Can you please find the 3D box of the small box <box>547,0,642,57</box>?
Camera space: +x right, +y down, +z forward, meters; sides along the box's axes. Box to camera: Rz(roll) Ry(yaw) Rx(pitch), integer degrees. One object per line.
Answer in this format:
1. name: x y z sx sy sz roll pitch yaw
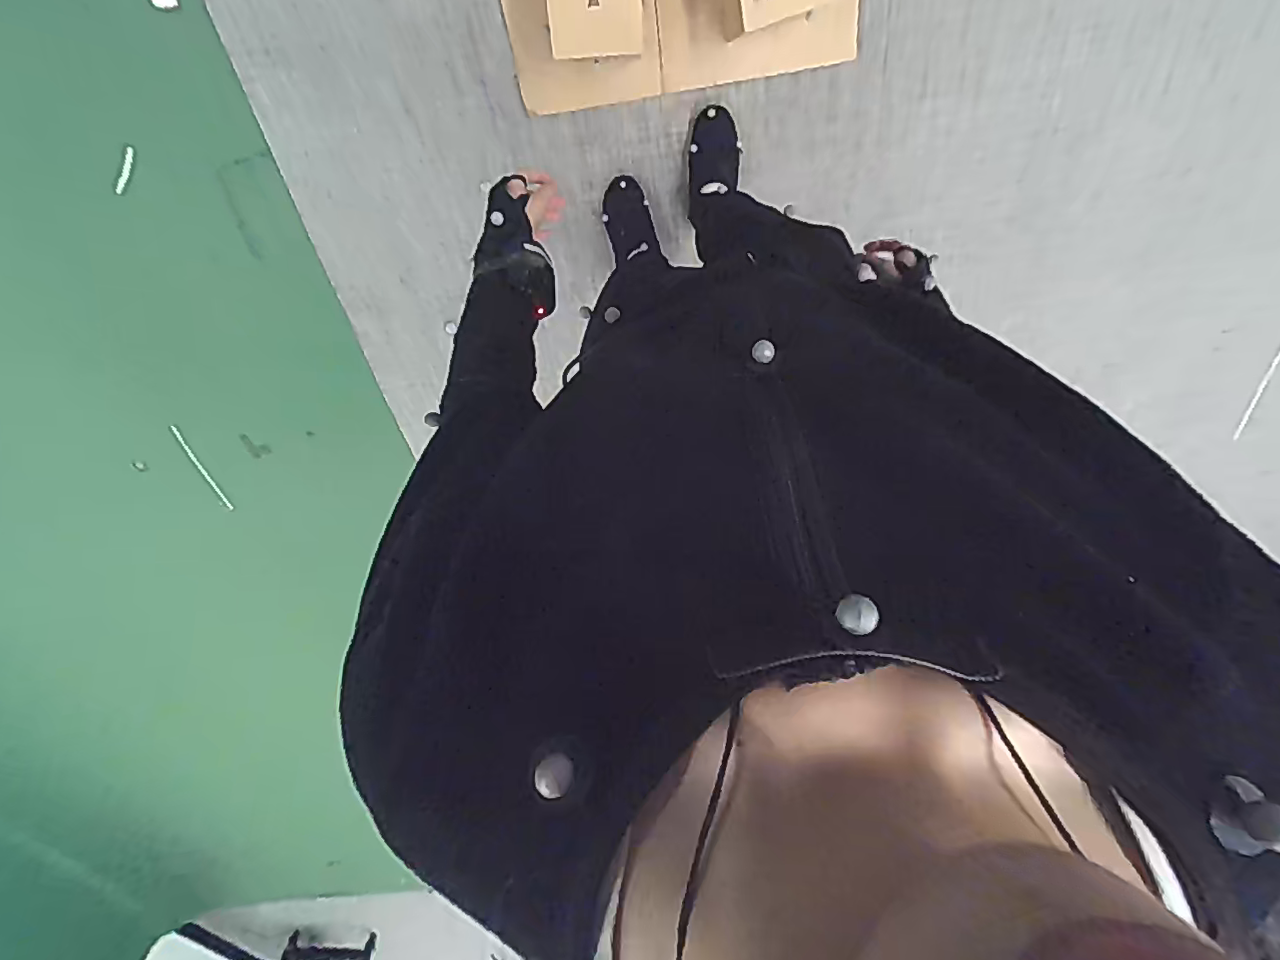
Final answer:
1. small box: -0.081 -0.882 0.980 0.168 0.176 0.179 -3 125 0
